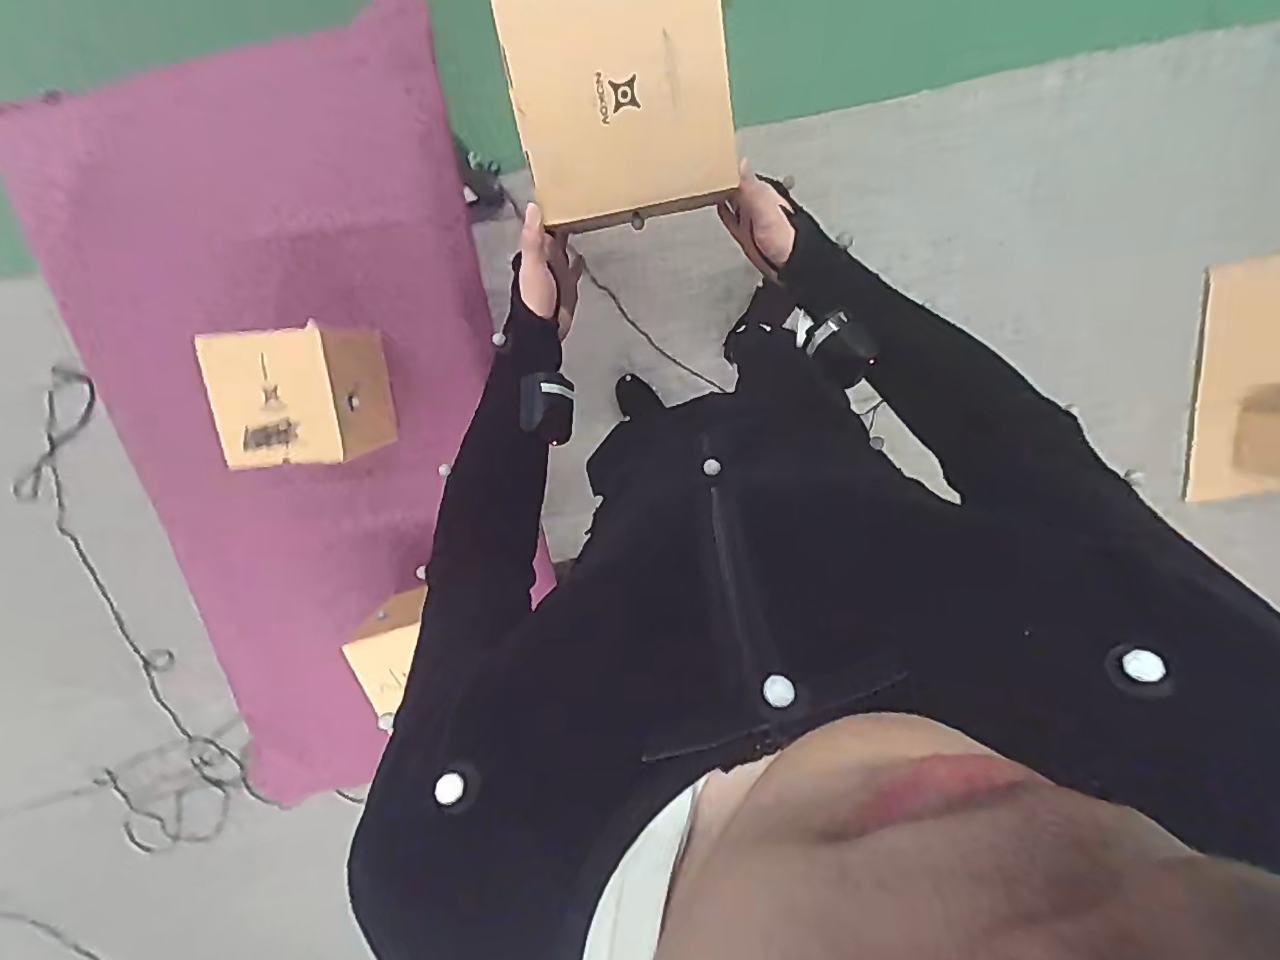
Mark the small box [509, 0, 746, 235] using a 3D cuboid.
[{"bbox_3d":[-0.001,-0.335,0.512,0.179,0.176,0.168,-7,112,7],"label":"small box"}]

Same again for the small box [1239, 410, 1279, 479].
[{"bbox_3d":[1.845,-0.097,1.506,0.168,0.176,0.179,-6,104,2],"label":"small box"}]

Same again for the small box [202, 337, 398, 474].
[{"bbox_3d":[-0.479,-0.116,0.795,0.168,0.176,0.179,-3,104,1],"label":"small box"}]
